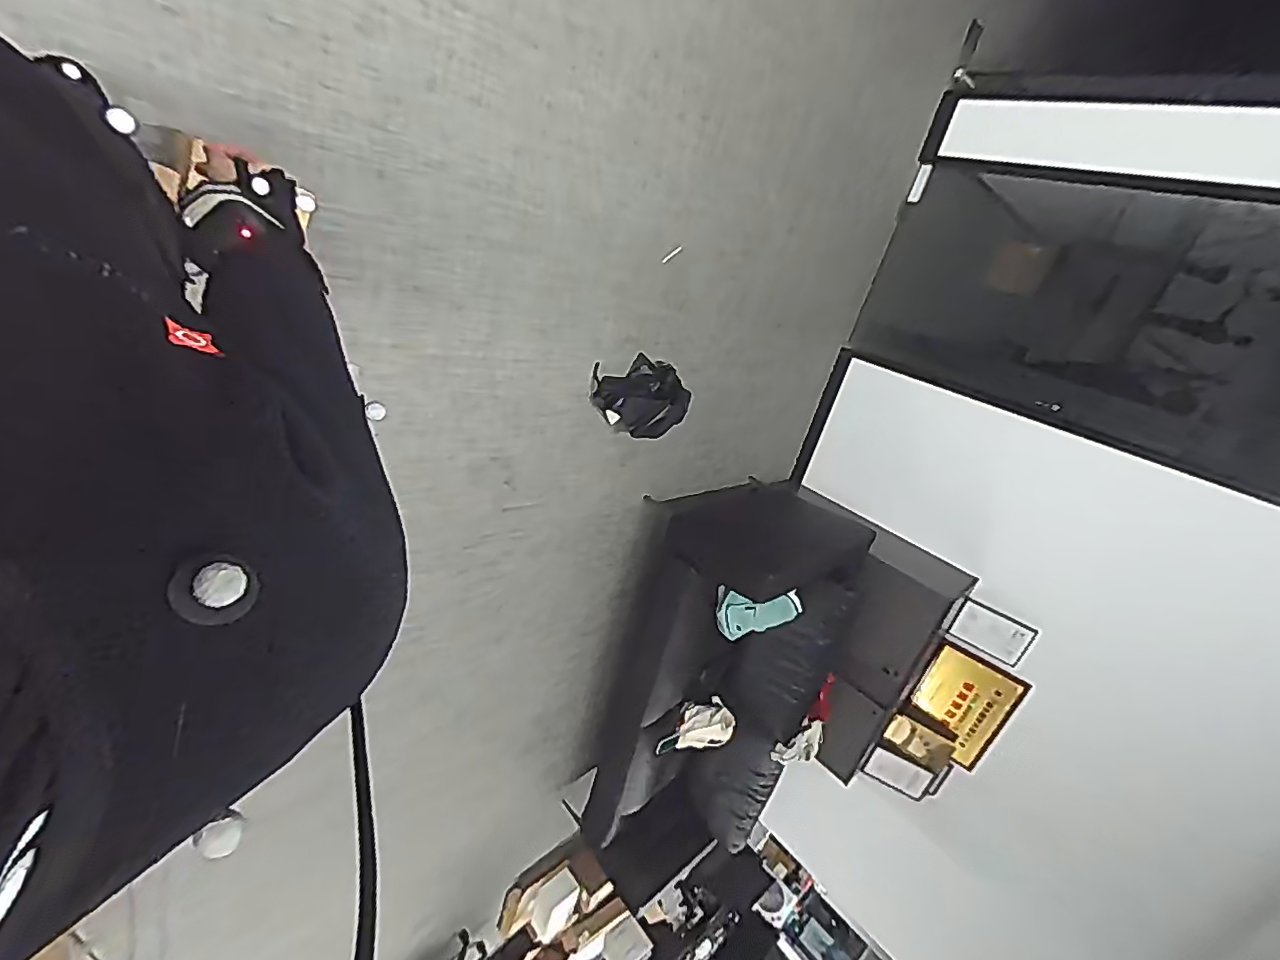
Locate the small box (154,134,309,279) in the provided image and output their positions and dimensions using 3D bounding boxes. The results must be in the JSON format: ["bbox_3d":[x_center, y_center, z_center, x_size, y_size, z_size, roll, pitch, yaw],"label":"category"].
[{"bbox_3d":[-0.737,-0.492,0.973,0.179,0.176,0.168,9,111,-51],"label":"small box"}]
